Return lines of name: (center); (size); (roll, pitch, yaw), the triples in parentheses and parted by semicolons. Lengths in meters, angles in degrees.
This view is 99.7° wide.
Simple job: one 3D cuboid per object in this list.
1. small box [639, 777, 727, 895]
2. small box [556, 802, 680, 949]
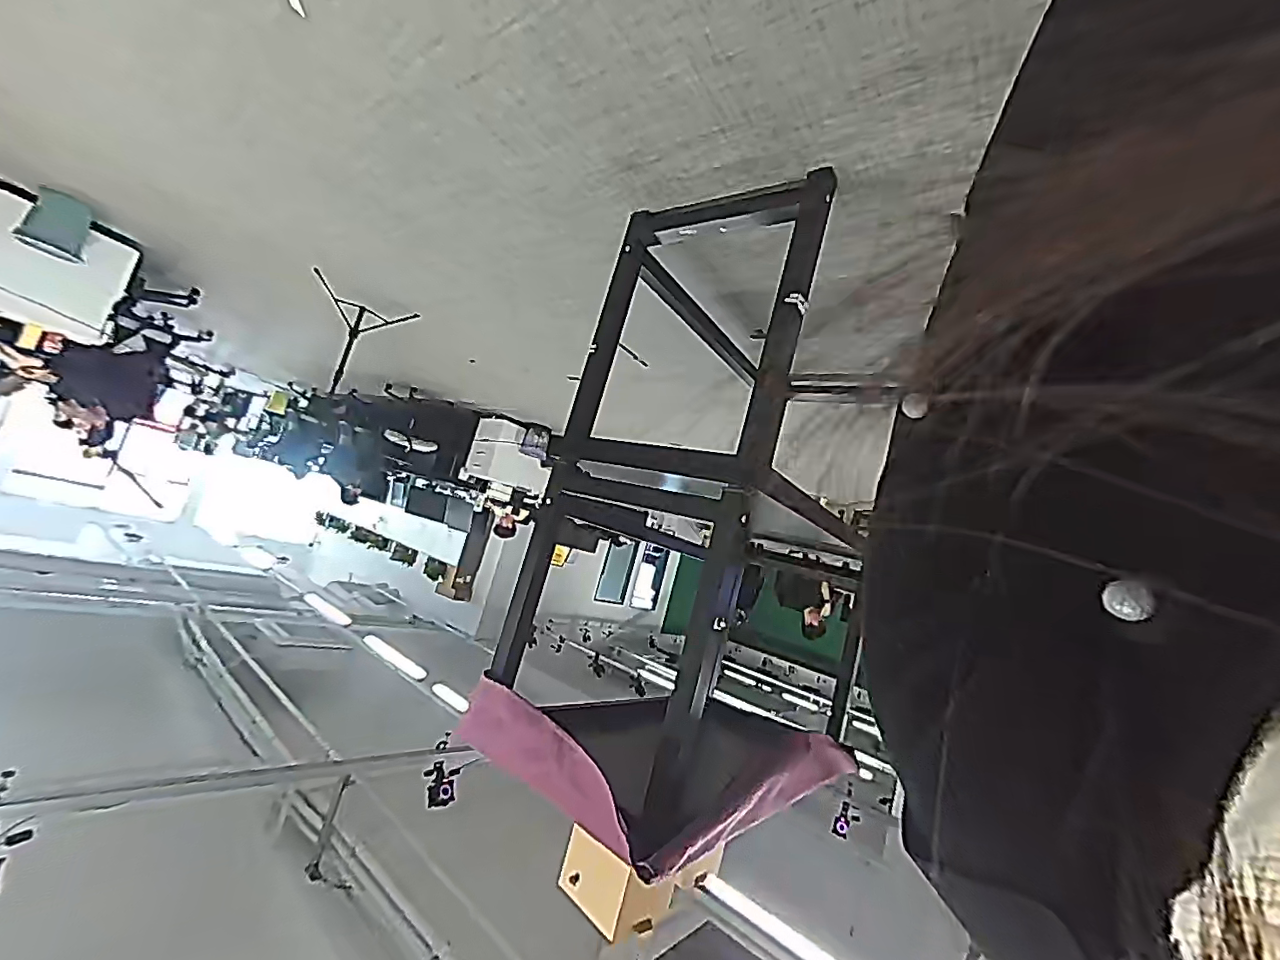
small box: (0.099, 0.870, 1.341); (0.179, 0.176, 0.168); (9, 170, 42)
small box: (-0.042, 0.805, 1.127); (0.179, 0.176, 0.168); (9, 171, 45)
